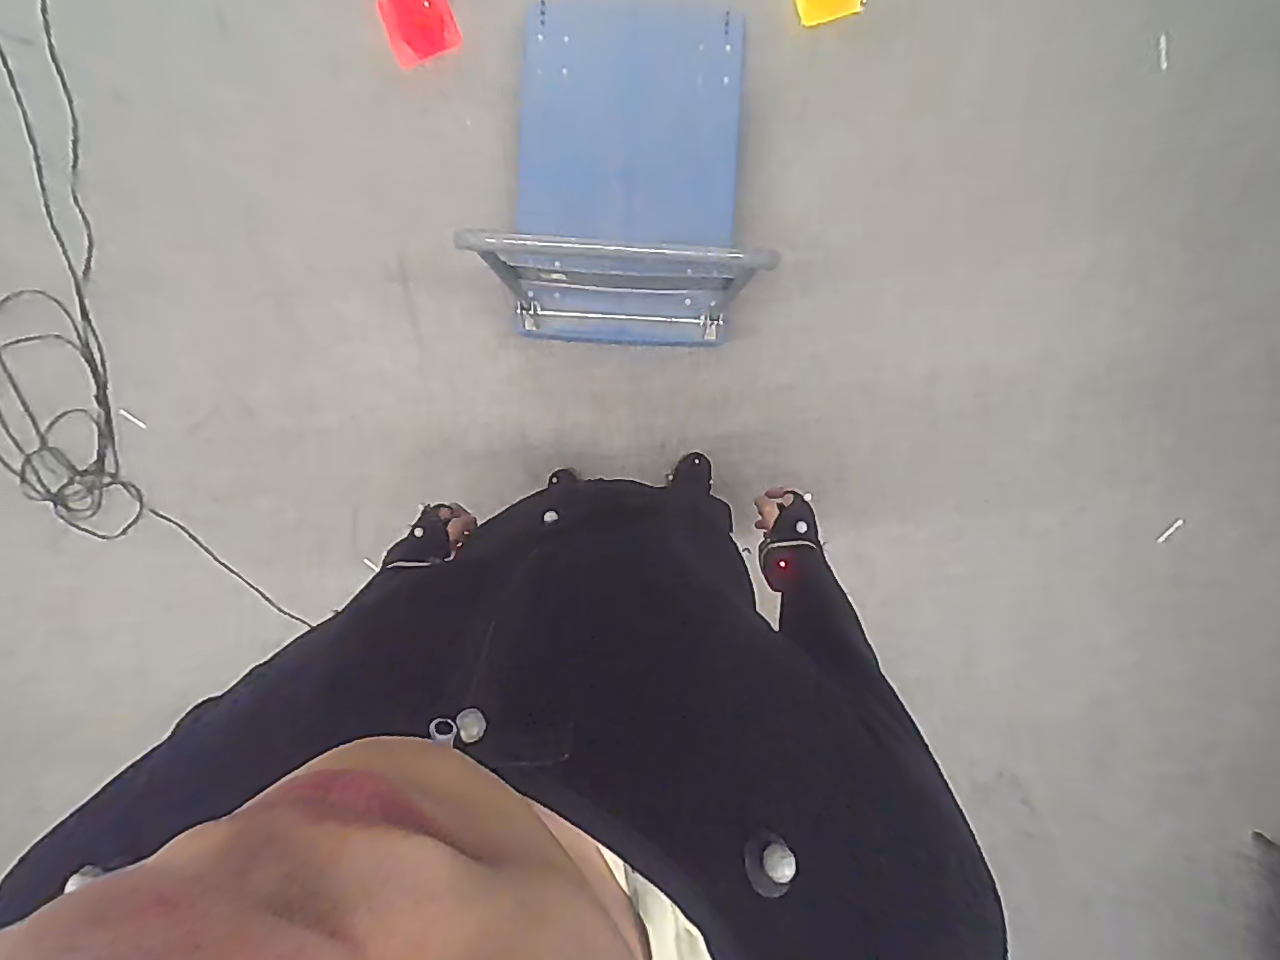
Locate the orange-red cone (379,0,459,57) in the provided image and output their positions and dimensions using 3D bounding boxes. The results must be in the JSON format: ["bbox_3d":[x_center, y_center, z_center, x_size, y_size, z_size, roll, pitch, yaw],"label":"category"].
[{"bbox_3d":[-0.639,-1.331,1.388,0.199,0.360,0.198,-19,92,3],"label":"orange-red cone"}]
